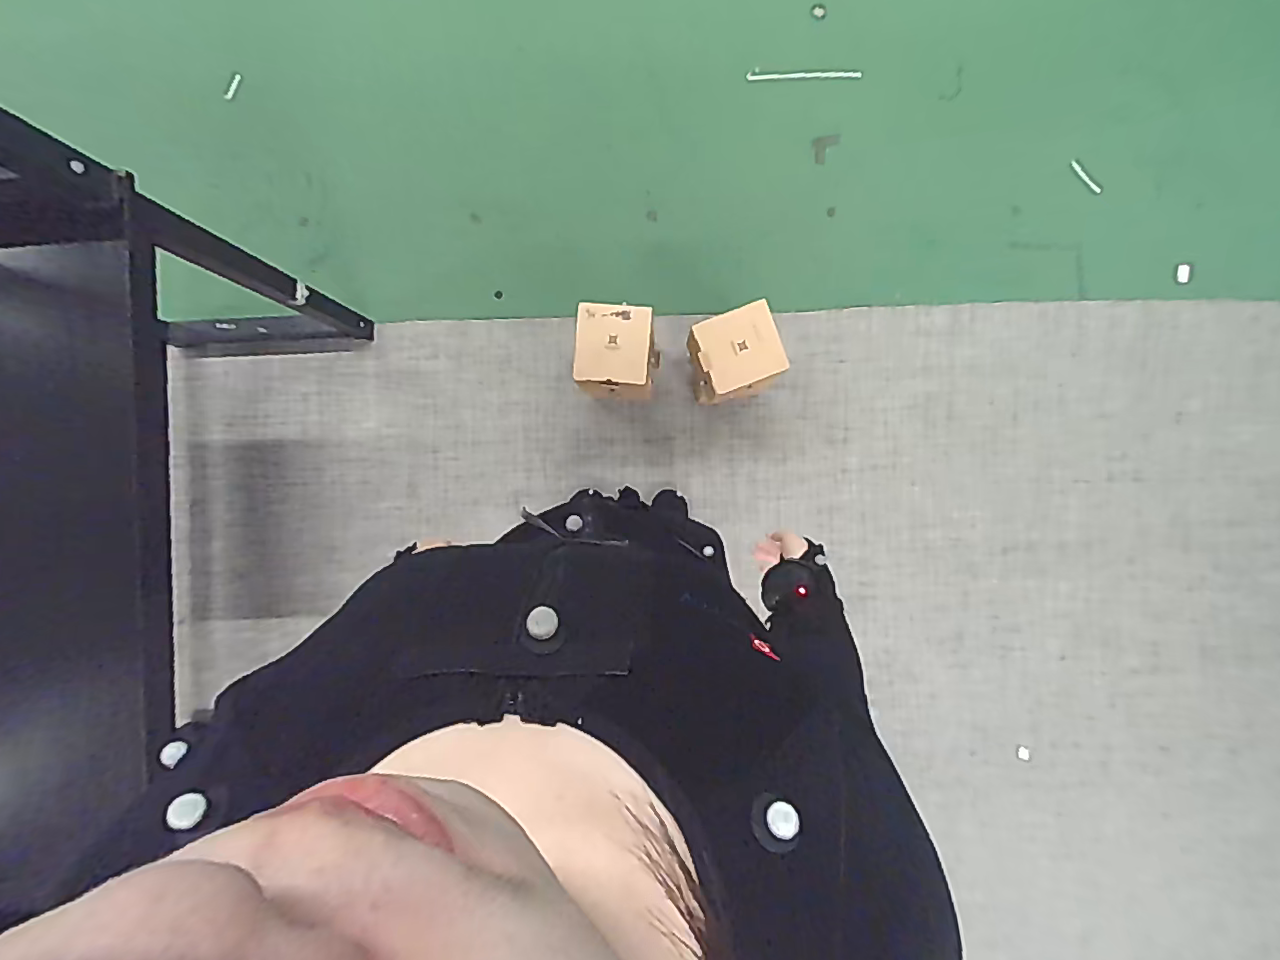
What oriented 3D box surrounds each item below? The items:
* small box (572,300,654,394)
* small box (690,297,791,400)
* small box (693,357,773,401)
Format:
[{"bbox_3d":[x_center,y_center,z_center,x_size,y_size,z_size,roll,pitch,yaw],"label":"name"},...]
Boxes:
[{"bbox_3d":[-0.057,-0.300,1.255,0.168,0.176,0.179,5,91,2],"label":"small box"},{"bbox_3d":[0.222,-0.293,1.249,0.179,0.176,0.168,-21,92,1],"label":"small box"},{"bbox_3d":[0.233,-0.307,1.411,0.179,0.176,0.168,-8,91,1],"label":"small box"}]
